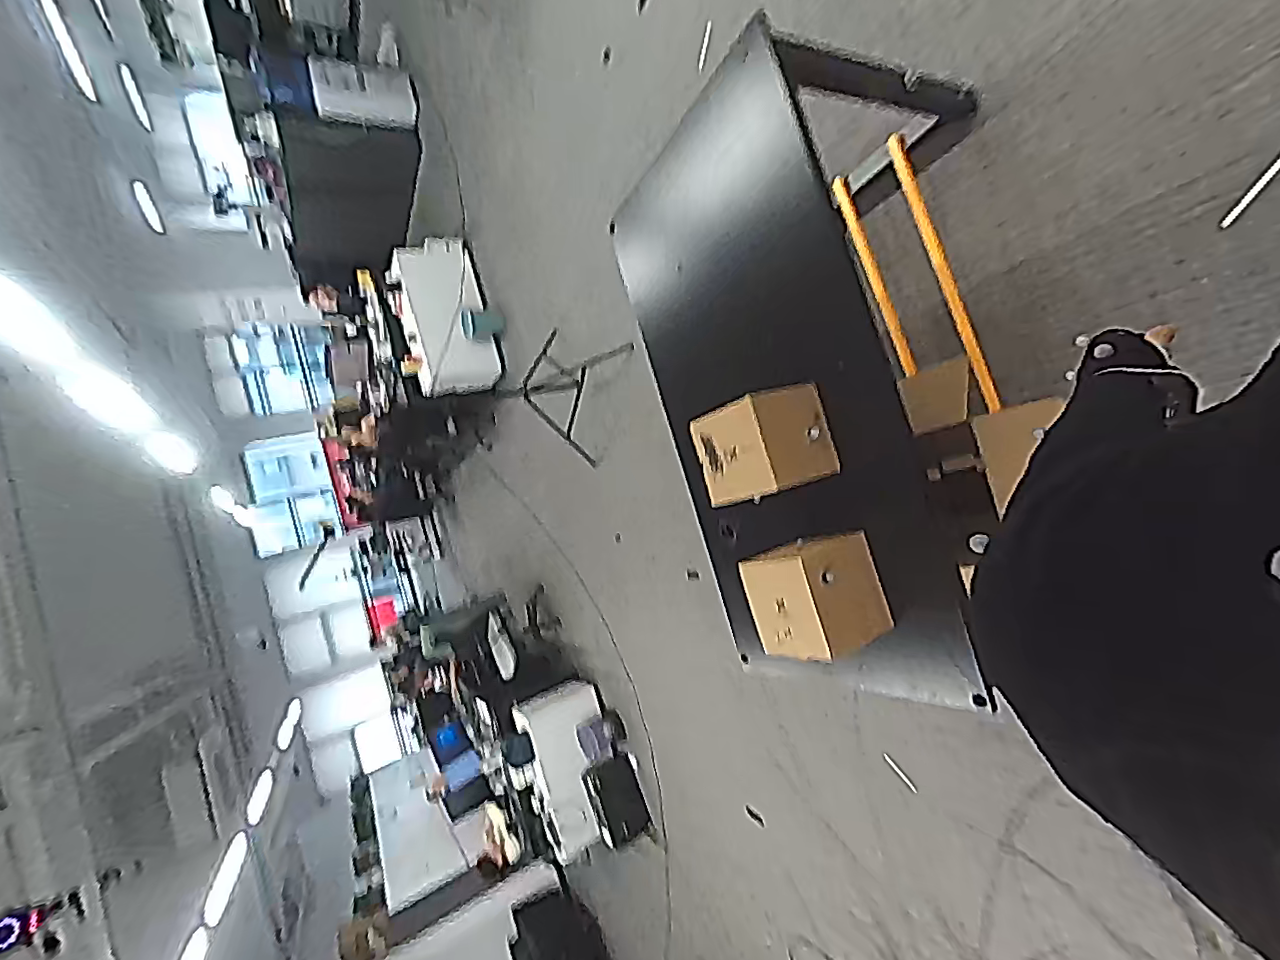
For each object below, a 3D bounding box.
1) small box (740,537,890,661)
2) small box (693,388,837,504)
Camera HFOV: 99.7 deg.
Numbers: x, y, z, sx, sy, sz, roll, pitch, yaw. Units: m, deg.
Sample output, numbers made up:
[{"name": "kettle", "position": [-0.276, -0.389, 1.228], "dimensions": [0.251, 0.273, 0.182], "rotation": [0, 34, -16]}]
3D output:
[{"name": "small box", "position": [0.318, 0.209, 0.987], "dimensions": [0.168, 0.176, 0.179], "rotation": [-25, 81, 60]}, {"name": "small box", "position": [0.232, -0.062, 1.013], "dimensions": [0.179, 0.176, 0.168], "rotation": [-21, 85, 59]}]
